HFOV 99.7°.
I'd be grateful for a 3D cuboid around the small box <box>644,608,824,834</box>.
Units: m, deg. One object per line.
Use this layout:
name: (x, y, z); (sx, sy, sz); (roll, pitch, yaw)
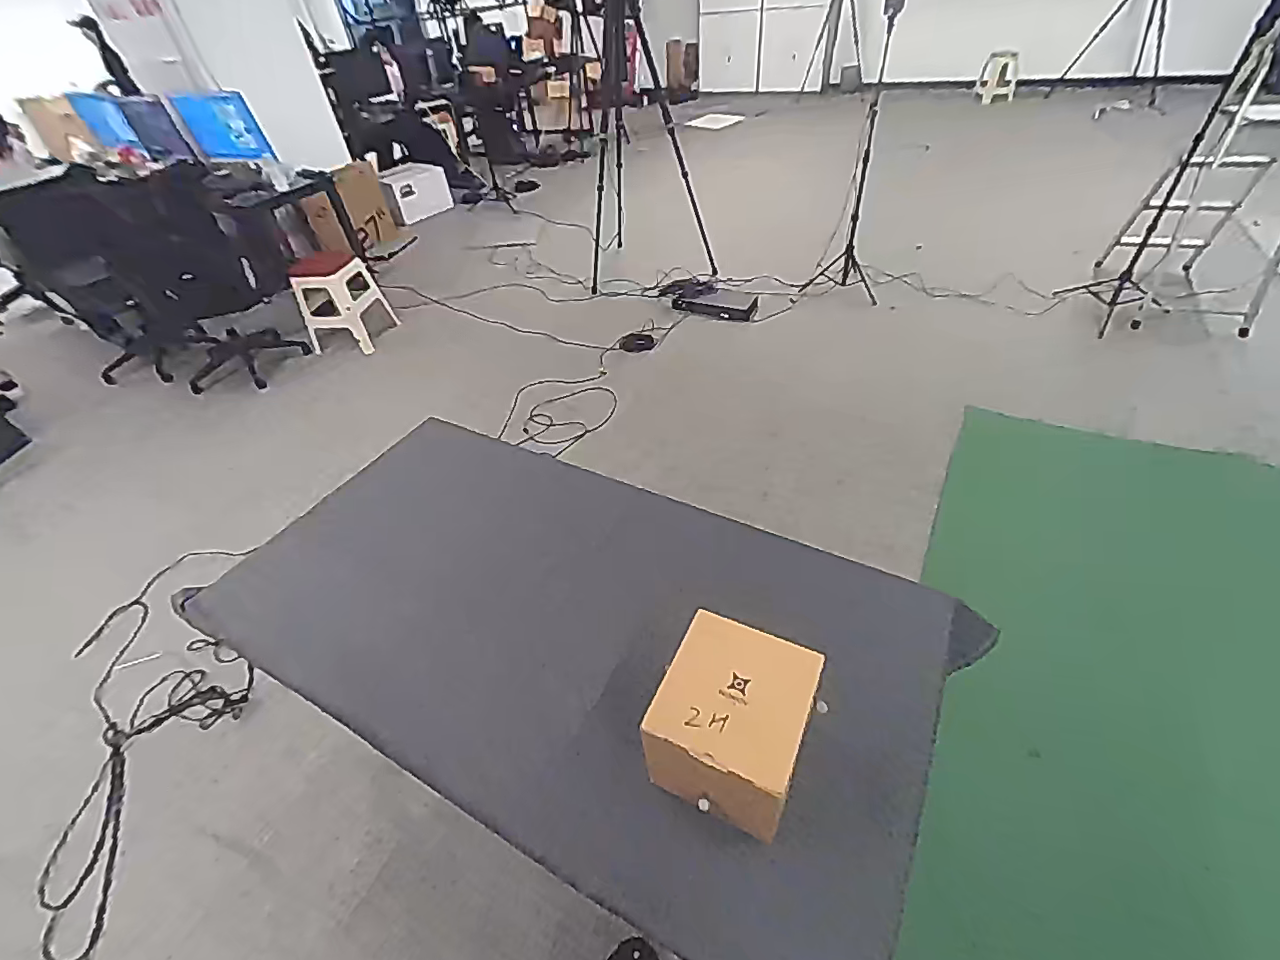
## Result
small box: (0.120, 0.302, 0.686); (0.168, 0.176, 0.179); (15, 47, 24)
